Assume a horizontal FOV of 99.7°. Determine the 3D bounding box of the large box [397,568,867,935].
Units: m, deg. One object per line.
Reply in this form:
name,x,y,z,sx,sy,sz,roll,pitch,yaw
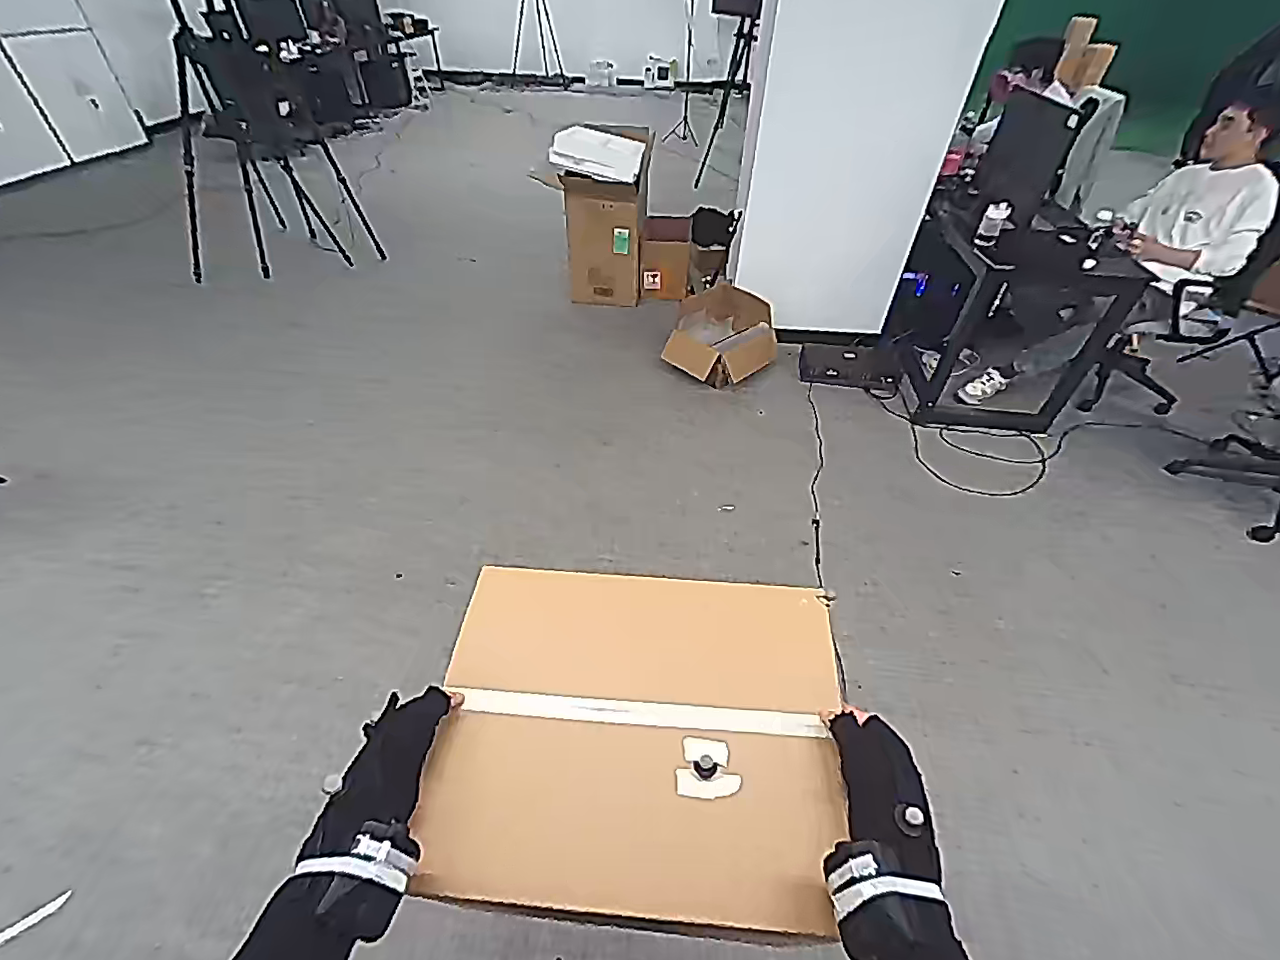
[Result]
large box,-0.002,0.330,0.656,0.408,0.320,0.320,4,49,3
